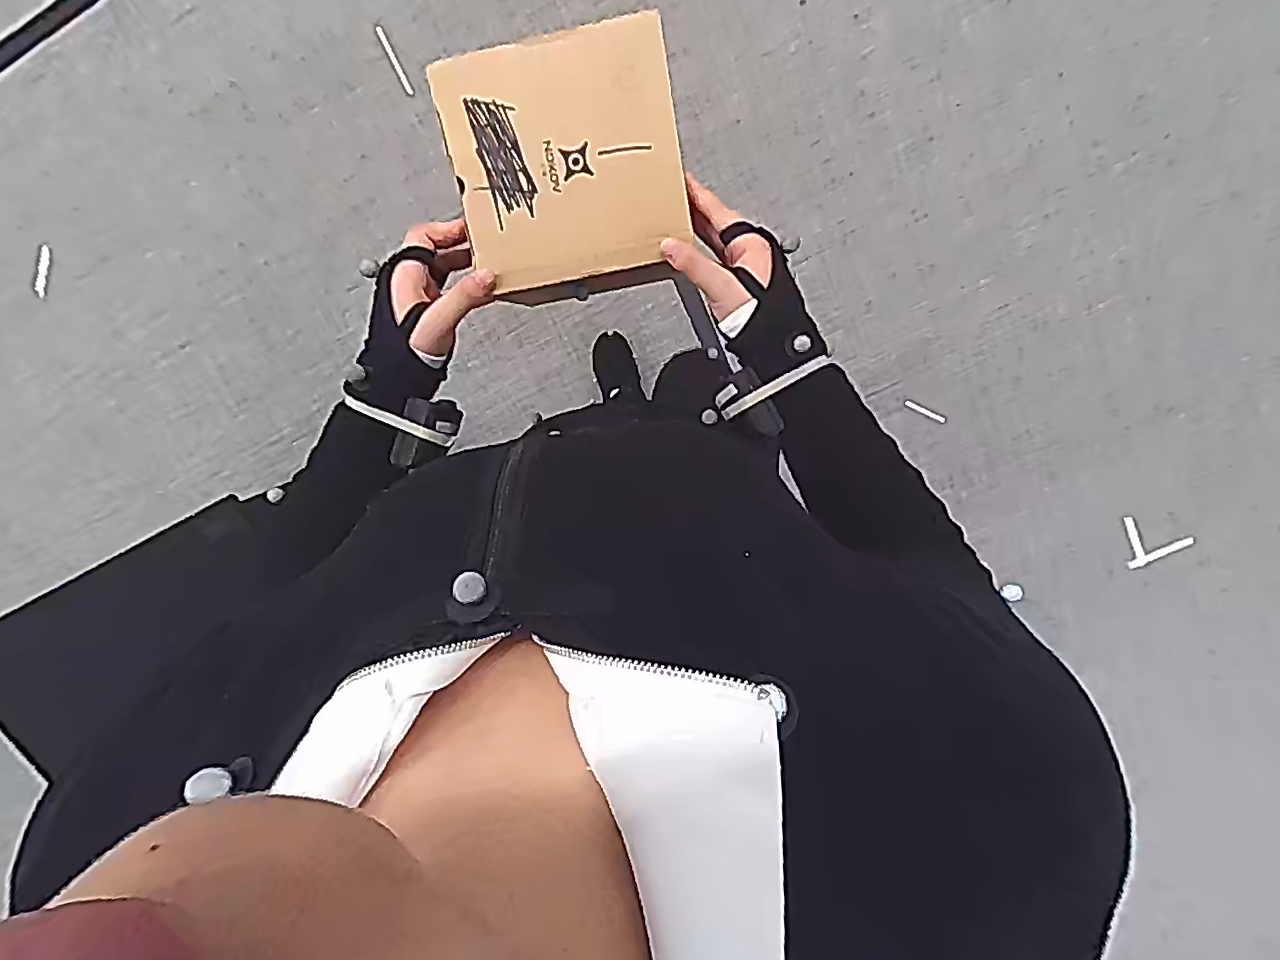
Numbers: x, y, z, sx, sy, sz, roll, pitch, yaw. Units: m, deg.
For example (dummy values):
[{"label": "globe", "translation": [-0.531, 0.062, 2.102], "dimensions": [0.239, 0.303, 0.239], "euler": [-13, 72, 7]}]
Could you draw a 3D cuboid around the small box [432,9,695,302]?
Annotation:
[{"label": "small box", "translation": [-0.051, -0.260, 0.482], "dimensions": [0.179, 0.176, 0.168], "euler": [-10, 105, 4]}]
